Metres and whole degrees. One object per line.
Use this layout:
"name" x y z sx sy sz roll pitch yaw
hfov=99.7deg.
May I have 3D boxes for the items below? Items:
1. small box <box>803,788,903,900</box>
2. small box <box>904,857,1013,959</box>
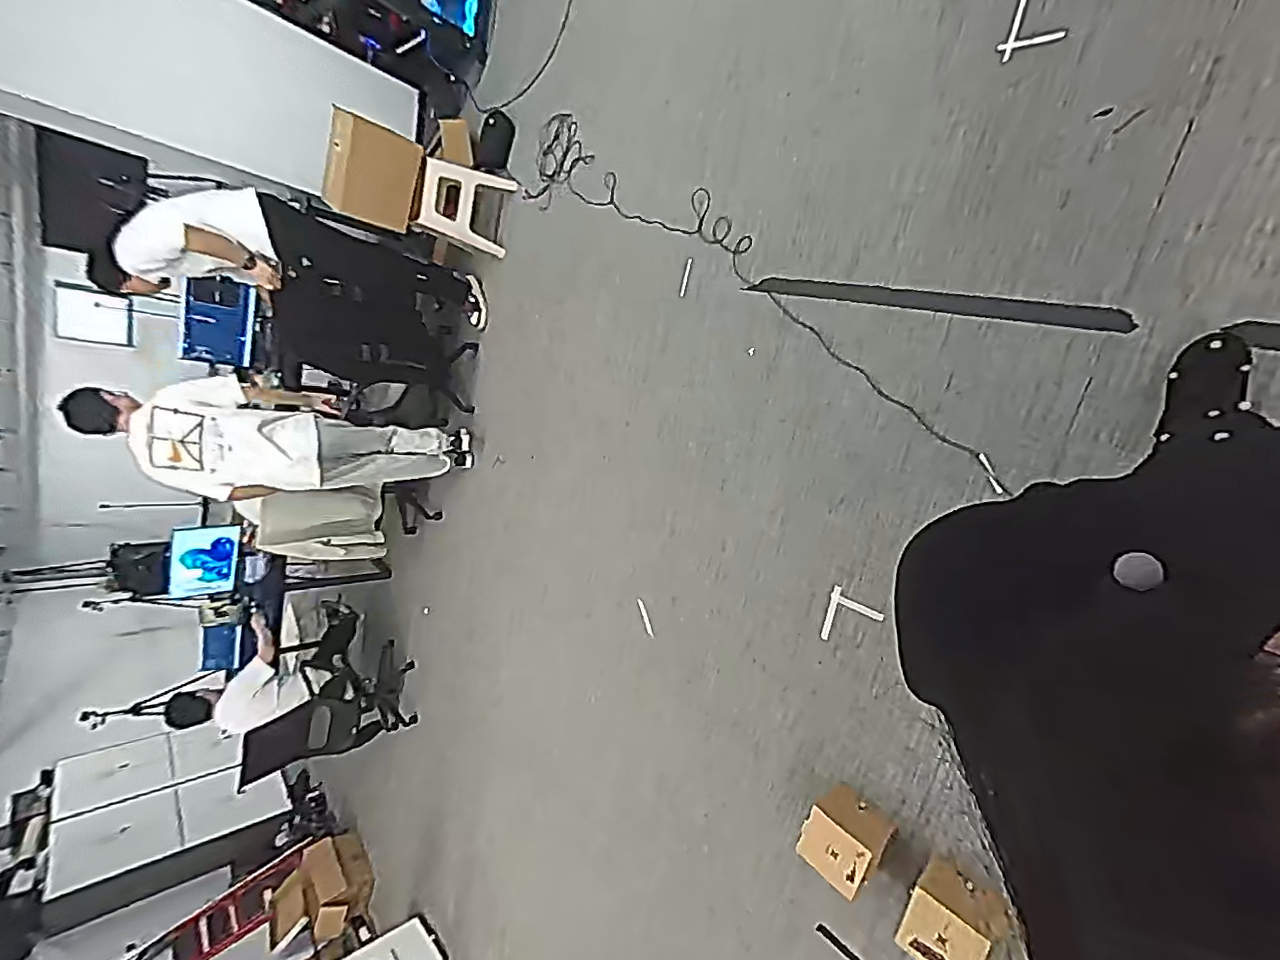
"small box" 0.591 0.993 1.499 0.179 0.176 0.168 29 110 42
"small box" 0.775 1.078 1.311 0.168 0.176 0.179 23 106 42
